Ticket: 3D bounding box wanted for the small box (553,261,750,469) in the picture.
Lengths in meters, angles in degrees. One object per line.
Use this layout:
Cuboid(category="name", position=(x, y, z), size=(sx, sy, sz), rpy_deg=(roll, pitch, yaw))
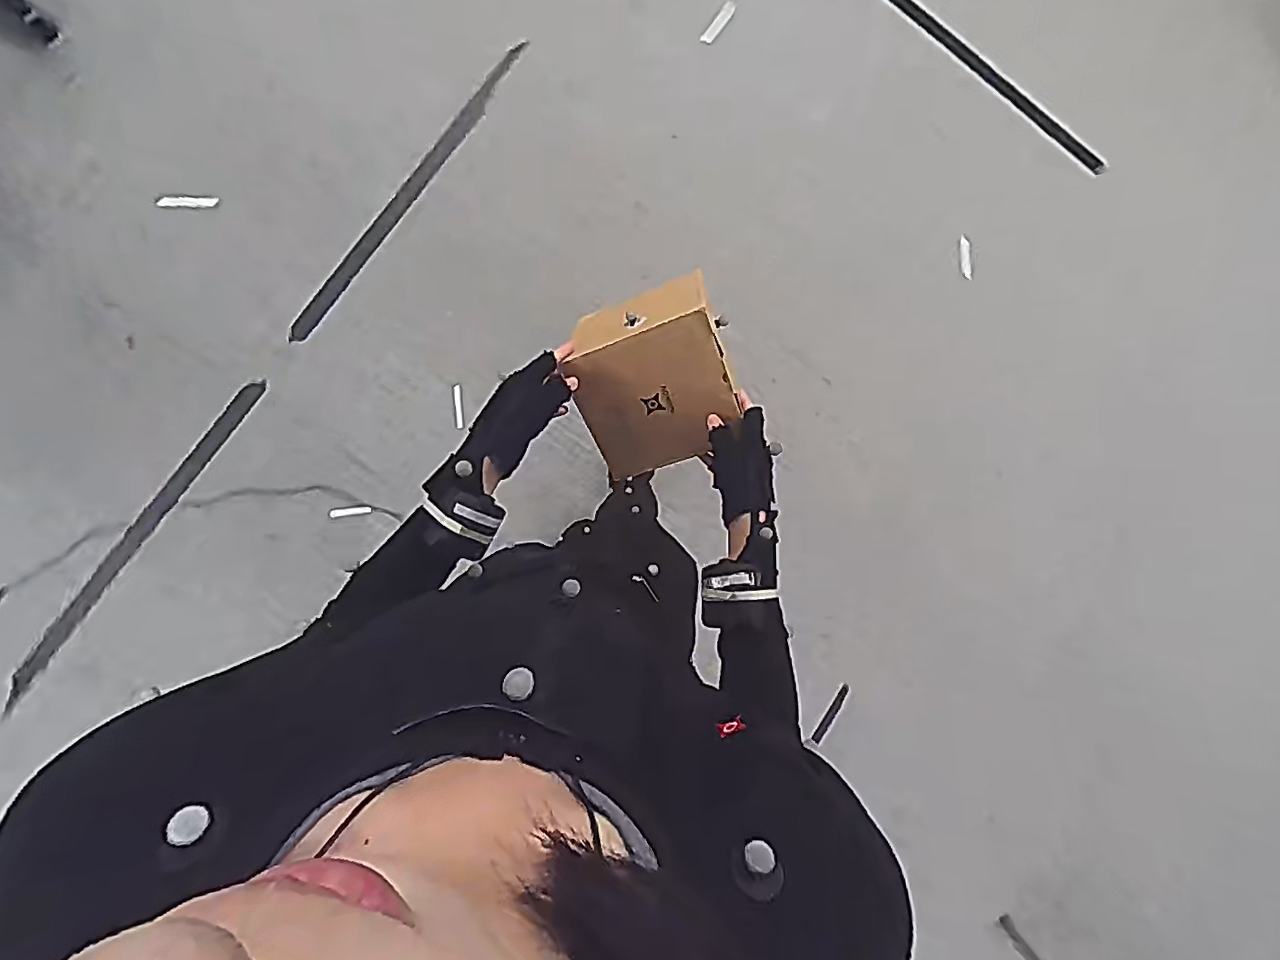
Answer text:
Cuboid(category="small box", position=(0.020, -0.146, 0.663), size=(0.179, 0.176, 0.168), rpy_deg=(-19, 119, 16))
